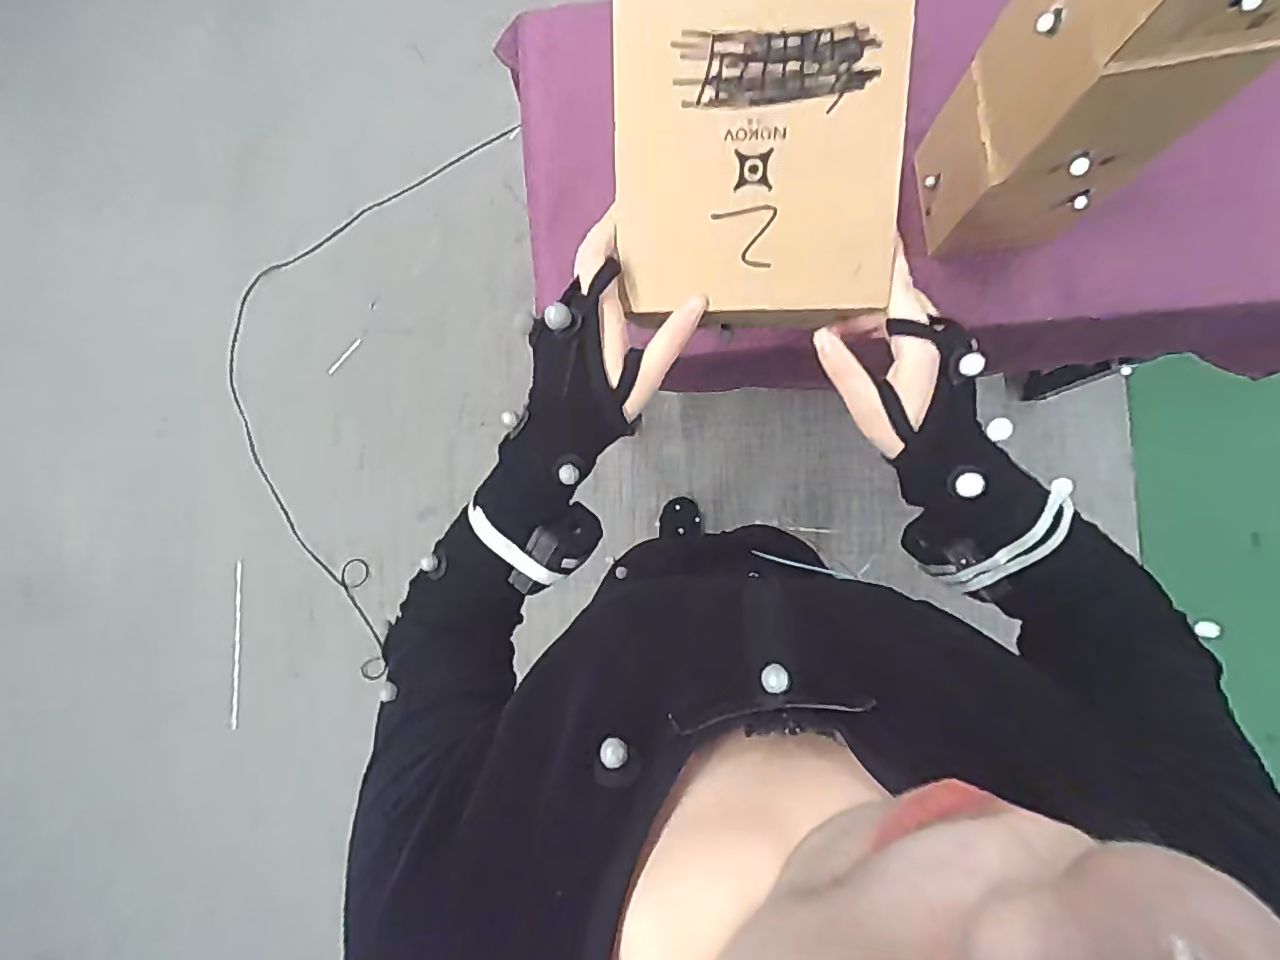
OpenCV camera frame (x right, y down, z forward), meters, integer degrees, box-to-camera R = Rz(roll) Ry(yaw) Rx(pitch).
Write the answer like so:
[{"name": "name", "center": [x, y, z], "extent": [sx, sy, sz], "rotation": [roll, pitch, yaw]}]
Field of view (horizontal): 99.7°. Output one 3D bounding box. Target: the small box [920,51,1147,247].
[{"name": "small box", "center": [0.502, -0.432, 0.716], "extent": [0.179, 0.176, 0.168], "rotation": [-4, 84, 5]}]

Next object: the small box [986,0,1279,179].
[{"name": "small box", "center": [0.487, -0.449, 0.555], "extent": [0.168, 0.176, 0.179], "rotation": [-5, 85, 5]}]

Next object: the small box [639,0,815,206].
[{"name": "small box", "center": [0.088, -0.421, 0.588], "extent": [0.168, 0.176, 0.179], "rotation": [-1, 86, 5]}]

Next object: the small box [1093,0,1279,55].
[{"name": "small box", "center": [0.468, -0.470, 0.395], "extent": [0.168, 0.176, 0.179], "rotation": [-7, 85, 5]}]
